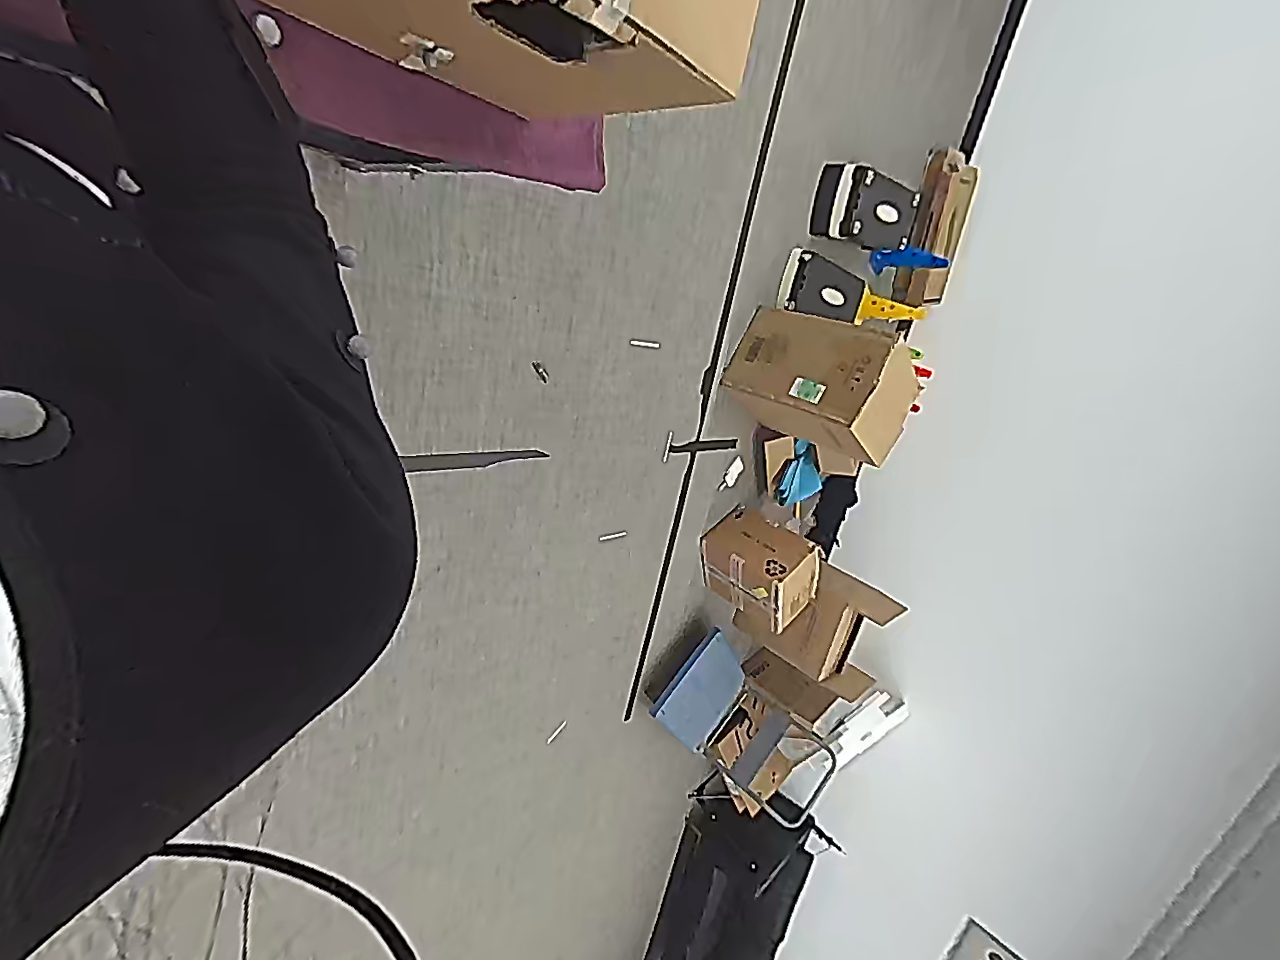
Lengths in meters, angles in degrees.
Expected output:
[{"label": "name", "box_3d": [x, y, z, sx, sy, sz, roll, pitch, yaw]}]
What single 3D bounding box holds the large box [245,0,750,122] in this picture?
[{"label": "large box", "box_3d": [-0.097, -0.548, 0.395, 0.320, 0.320, 0.408, -9, 117, -46]}]
